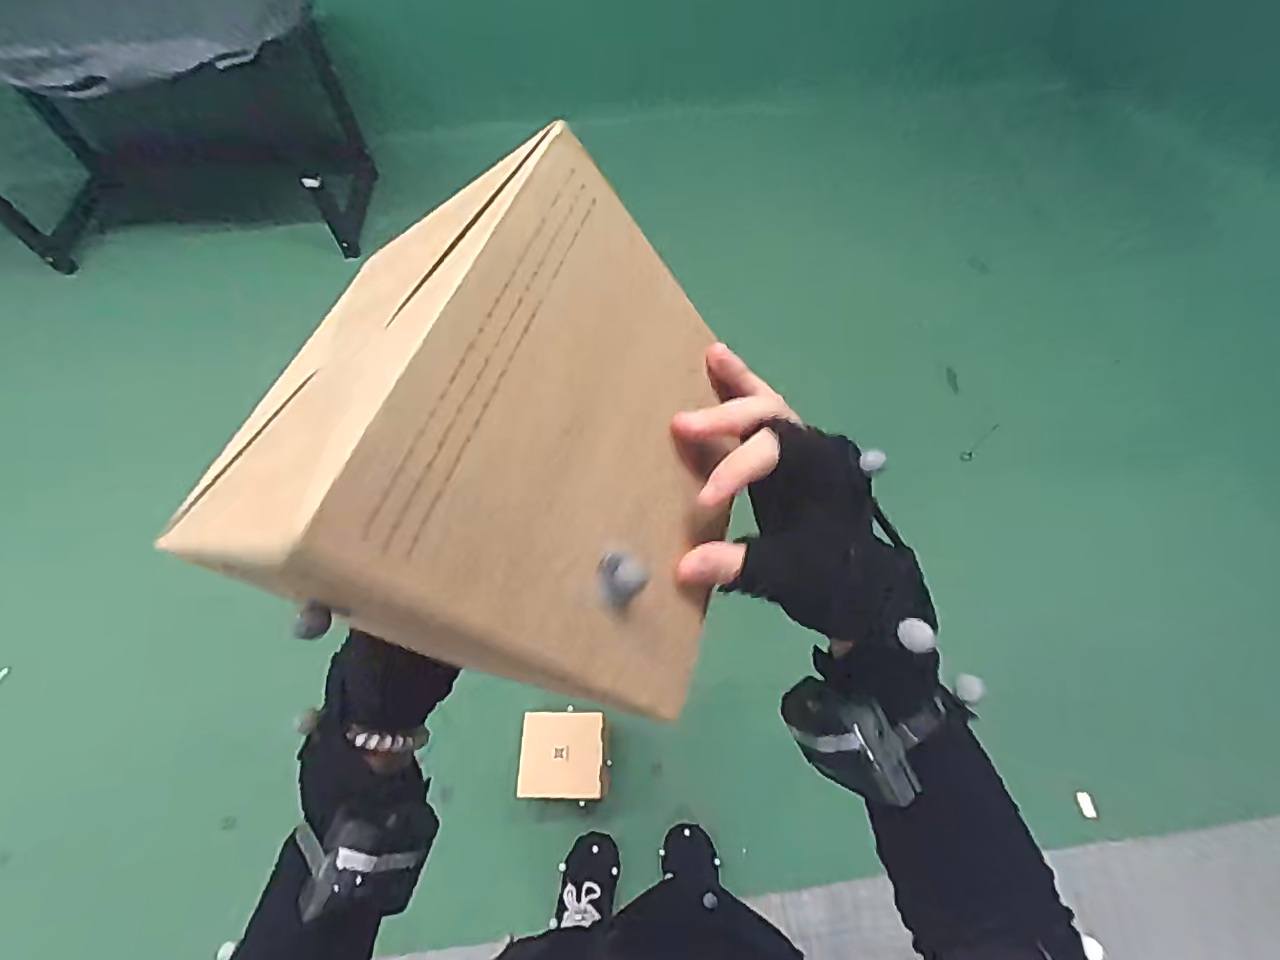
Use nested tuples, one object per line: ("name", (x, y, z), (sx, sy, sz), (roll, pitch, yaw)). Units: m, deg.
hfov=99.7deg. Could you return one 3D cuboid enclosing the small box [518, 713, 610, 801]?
("small box", (-0.163, 0.626, 1.218), (0.179, 0.176, 0.168), (0, 60, 1))
